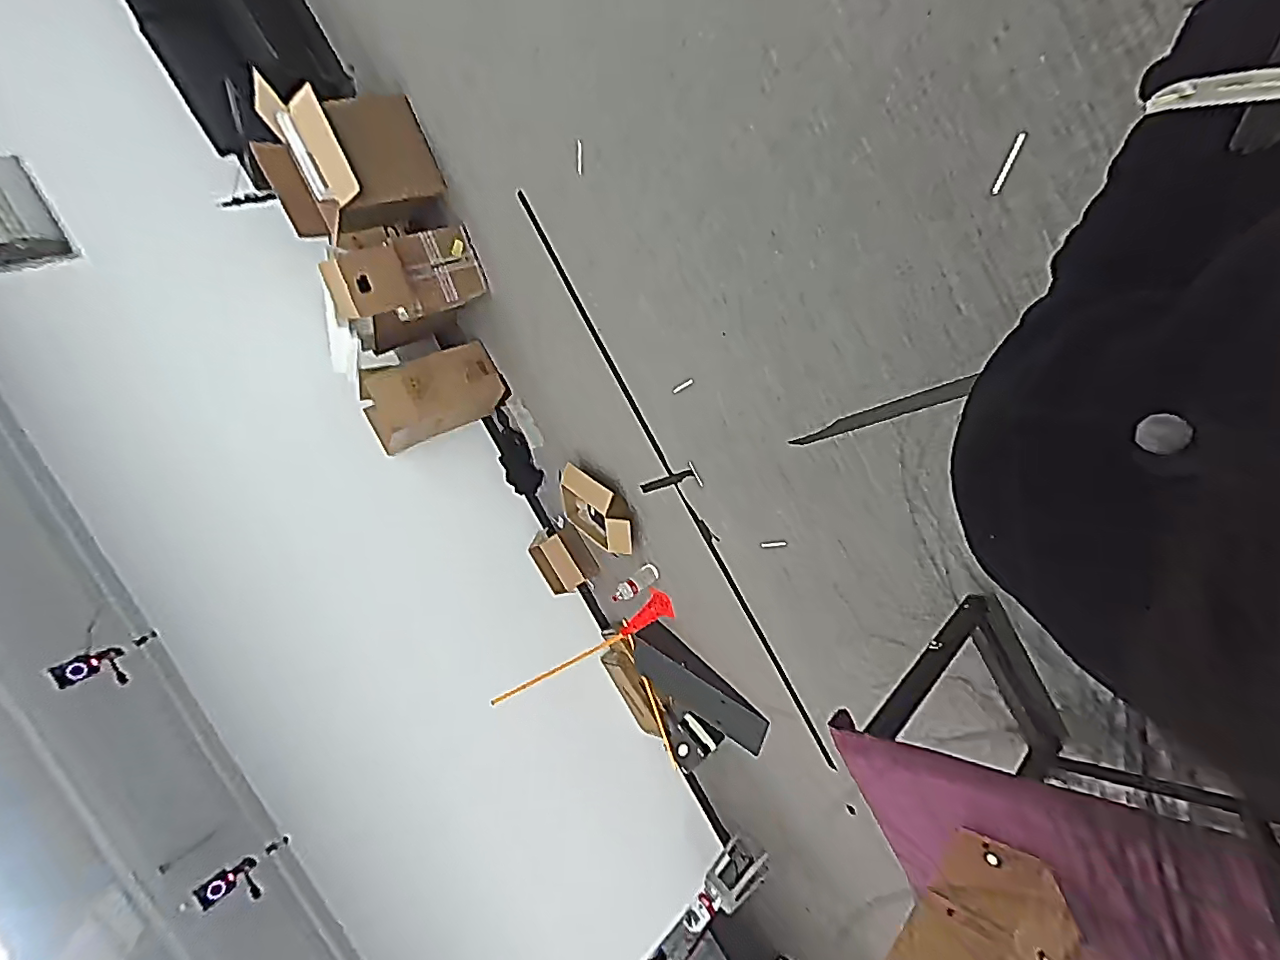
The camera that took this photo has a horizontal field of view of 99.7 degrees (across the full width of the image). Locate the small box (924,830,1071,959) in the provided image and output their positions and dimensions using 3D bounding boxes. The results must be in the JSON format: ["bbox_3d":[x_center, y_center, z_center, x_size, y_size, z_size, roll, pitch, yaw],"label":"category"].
[{"bbox_3d":[0.708,0.851,1.068,0.168,0.176,0.179,-15,103,59],"label":"small box"}]

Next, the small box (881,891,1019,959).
[{"bbox_3d":[0.584,0.920,0.987,0.168,0.176,0.179,-11,108,58],"label":"small box"}]
